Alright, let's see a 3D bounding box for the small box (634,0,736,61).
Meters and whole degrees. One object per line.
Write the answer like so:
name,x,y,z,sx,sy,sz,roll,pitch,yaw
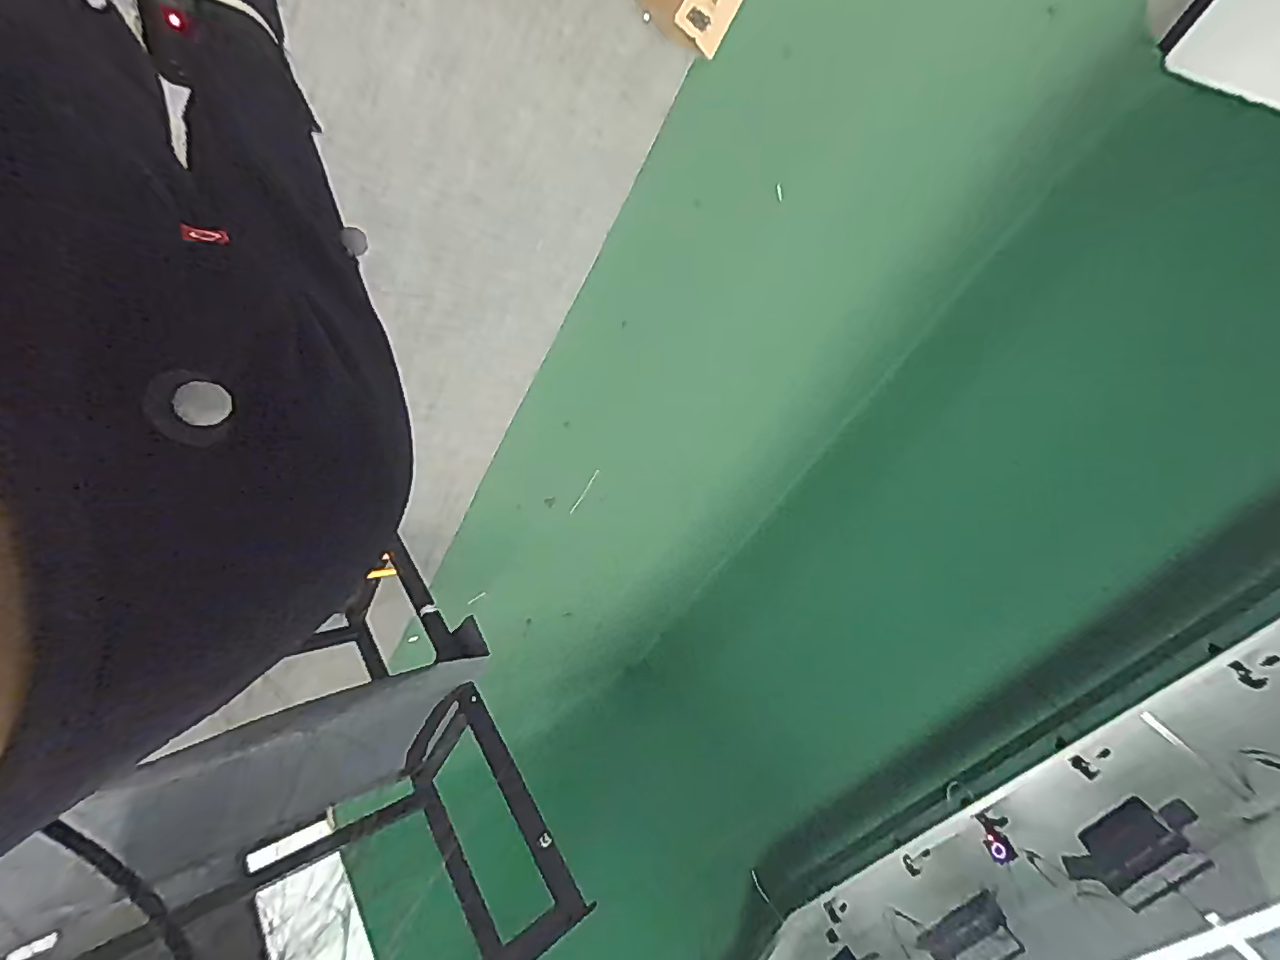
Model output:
small box,0.108,-1.201,1.337,0.168,0.176,0.179,-1,132,-52
